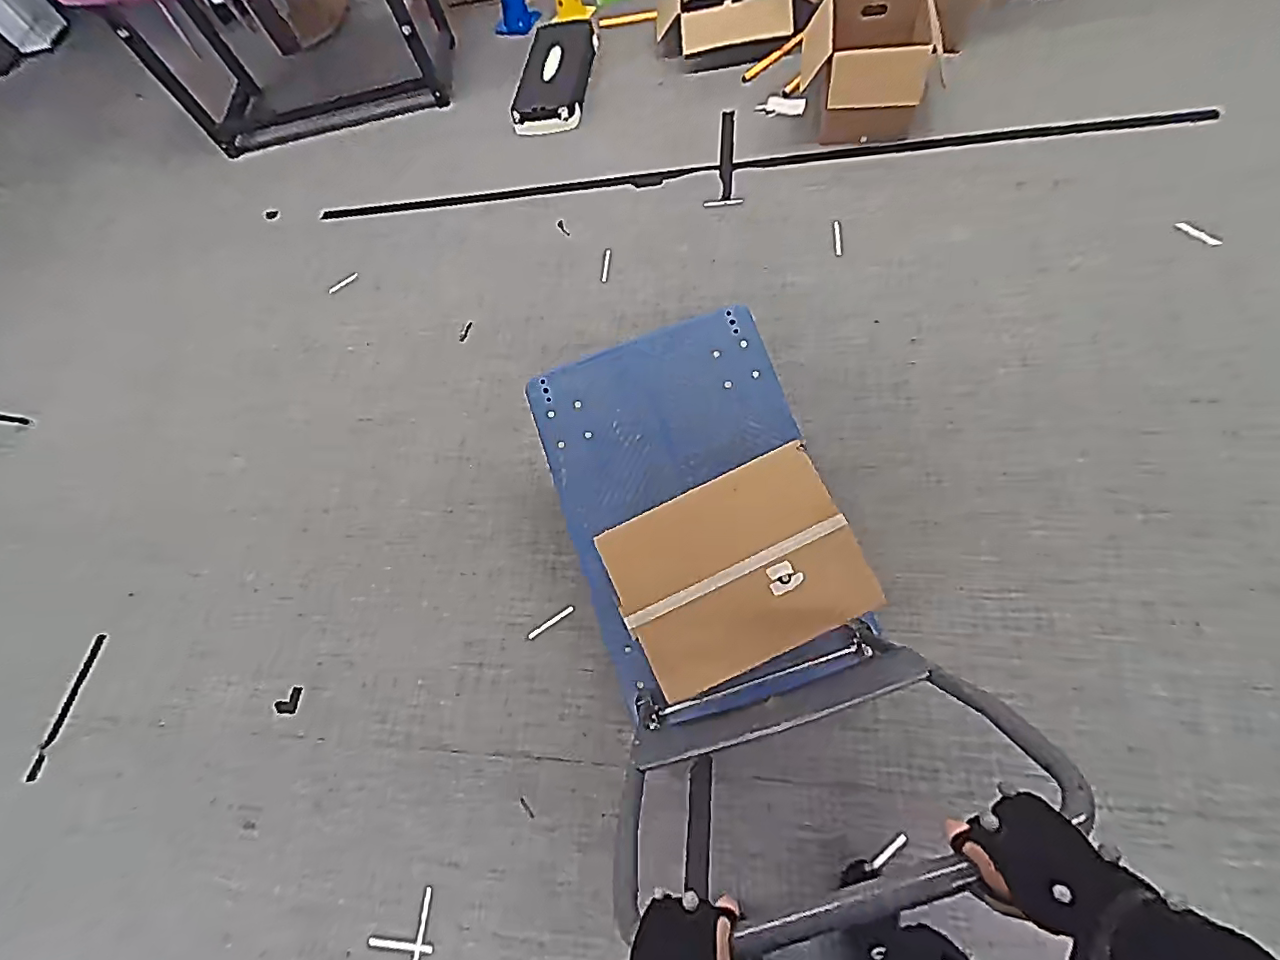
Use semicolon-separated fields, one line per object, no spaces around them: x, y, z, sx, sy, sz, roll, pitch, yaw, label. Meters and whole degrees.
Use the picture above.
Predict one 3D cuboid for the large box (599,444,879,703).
0.176;0.180;1.086;0.408;0.320;0.320;-27;82;0;large box
